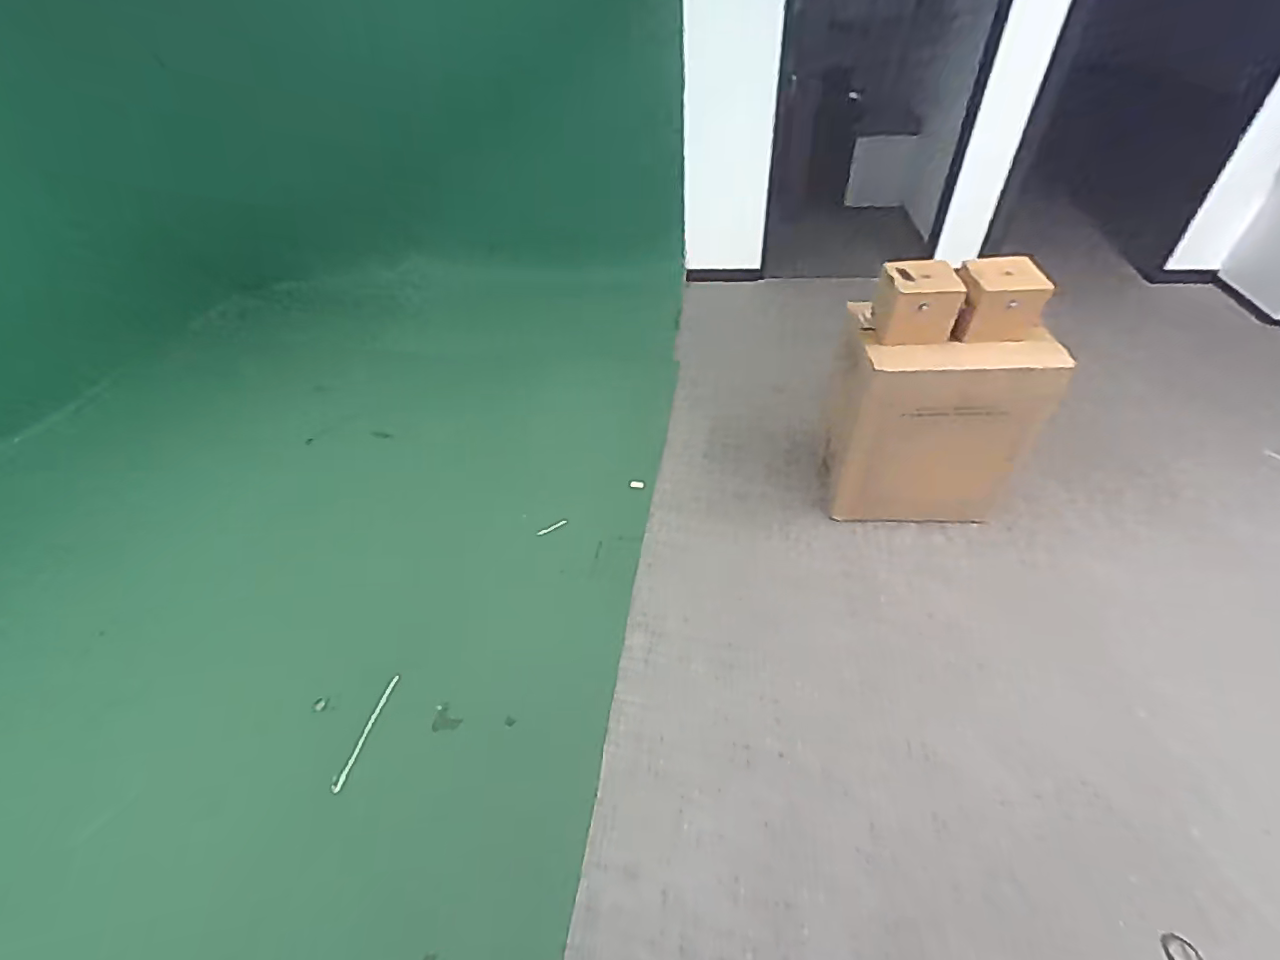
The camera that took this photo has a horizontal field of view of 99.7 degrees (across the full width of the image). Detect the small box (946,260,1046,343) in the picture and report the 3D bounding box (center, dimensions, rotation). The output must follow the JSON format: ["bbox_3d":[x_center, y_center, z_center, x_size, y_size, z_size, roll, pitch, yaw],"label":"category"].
[{"bbox_3d":[0.988,-0.505,1.536,0.179,0.176,0.168,-1,50,2],"label":"small box"}]

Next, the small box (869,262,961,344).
[{"bbox_3d":[0.775,-0.504,1.549,0.179,0.176,0.168,0,50,3],"label":"small box"}]
